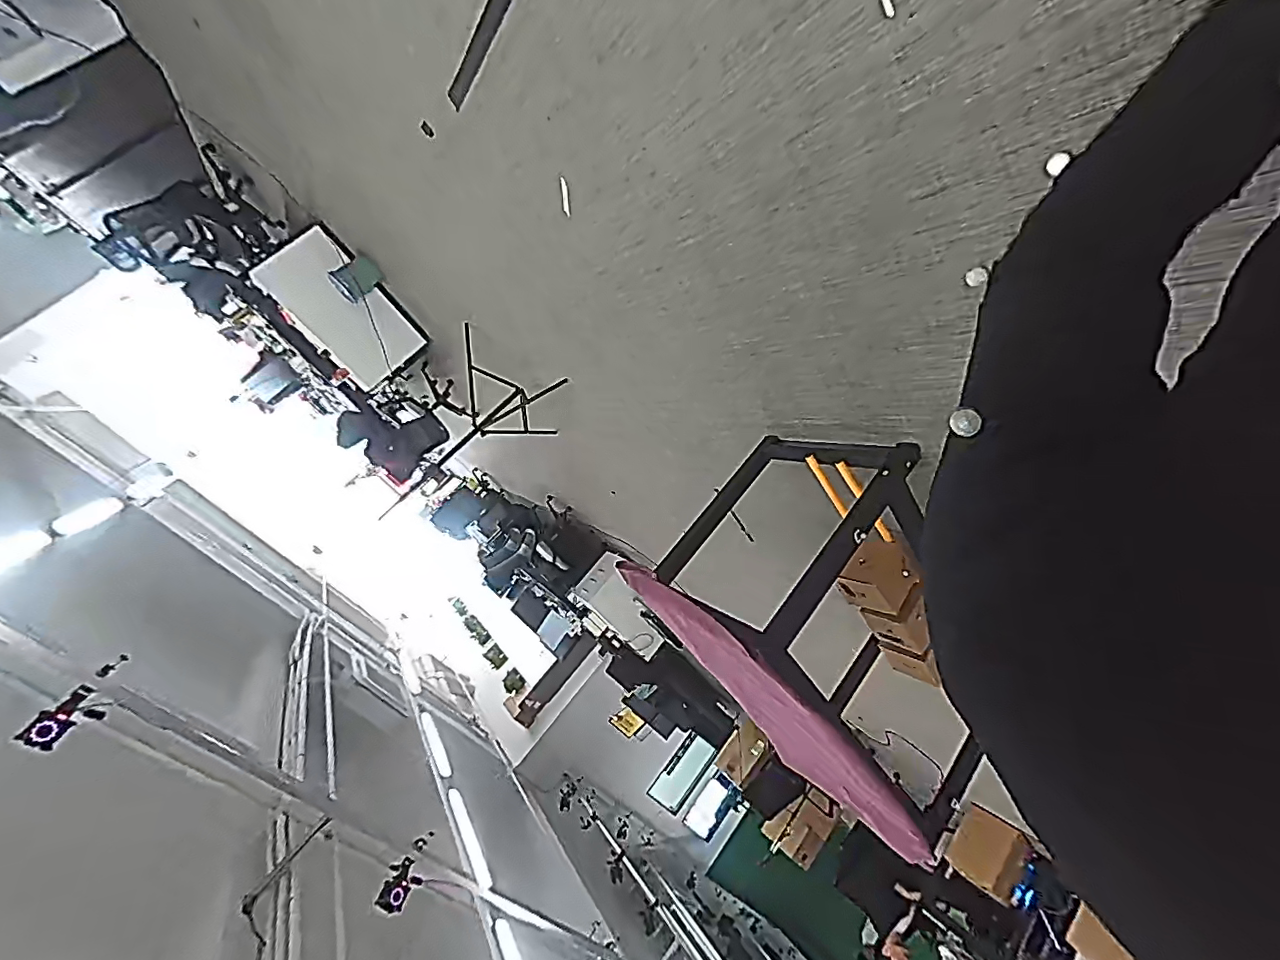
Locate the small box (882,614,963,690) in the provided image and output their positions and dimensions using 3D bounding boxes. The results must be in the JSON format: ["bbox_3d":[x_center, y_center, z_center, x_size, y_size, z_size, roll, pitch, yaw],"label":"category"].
[{"bbox_3d":[1.013,0.607,1.935,0.168,0.176,0.179,50,158,-26],"label":"small box"}]

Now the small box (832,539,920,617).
[{"bbox_3d":[0.767,0.311,1.752,0.168,0.176,0.179,48,159,-24],"label":"small box"}]
